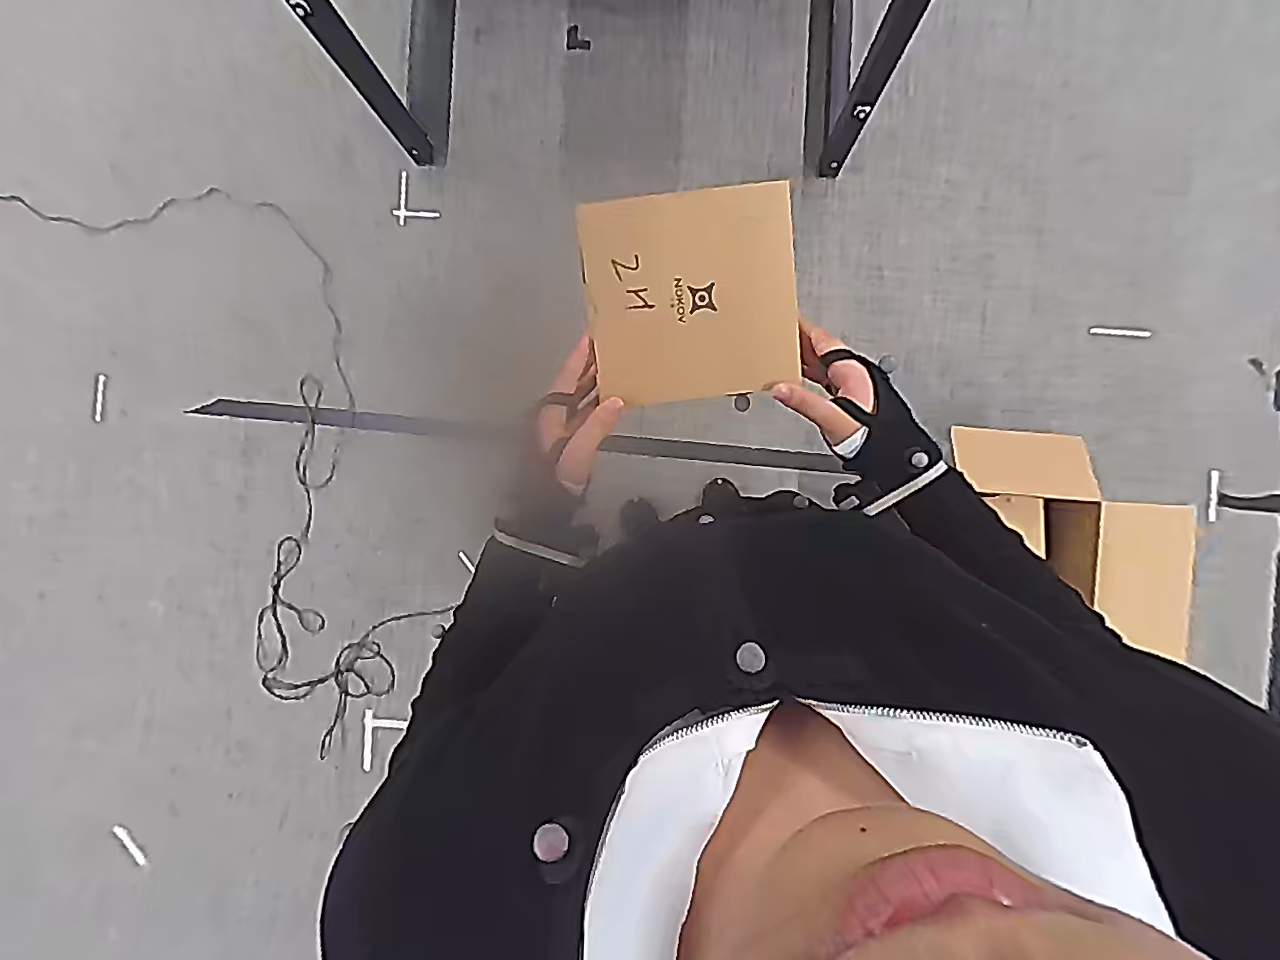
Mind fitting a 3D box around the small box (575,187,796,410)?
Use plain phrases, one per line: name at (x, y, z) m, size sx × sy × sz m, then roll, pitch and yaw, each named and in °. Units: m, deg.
small box at (0.039, -0.165, 0.532) m, size 0.179 × 0.176 × 0.168 m, roll -7°, pitch 100°, yaw 1°
